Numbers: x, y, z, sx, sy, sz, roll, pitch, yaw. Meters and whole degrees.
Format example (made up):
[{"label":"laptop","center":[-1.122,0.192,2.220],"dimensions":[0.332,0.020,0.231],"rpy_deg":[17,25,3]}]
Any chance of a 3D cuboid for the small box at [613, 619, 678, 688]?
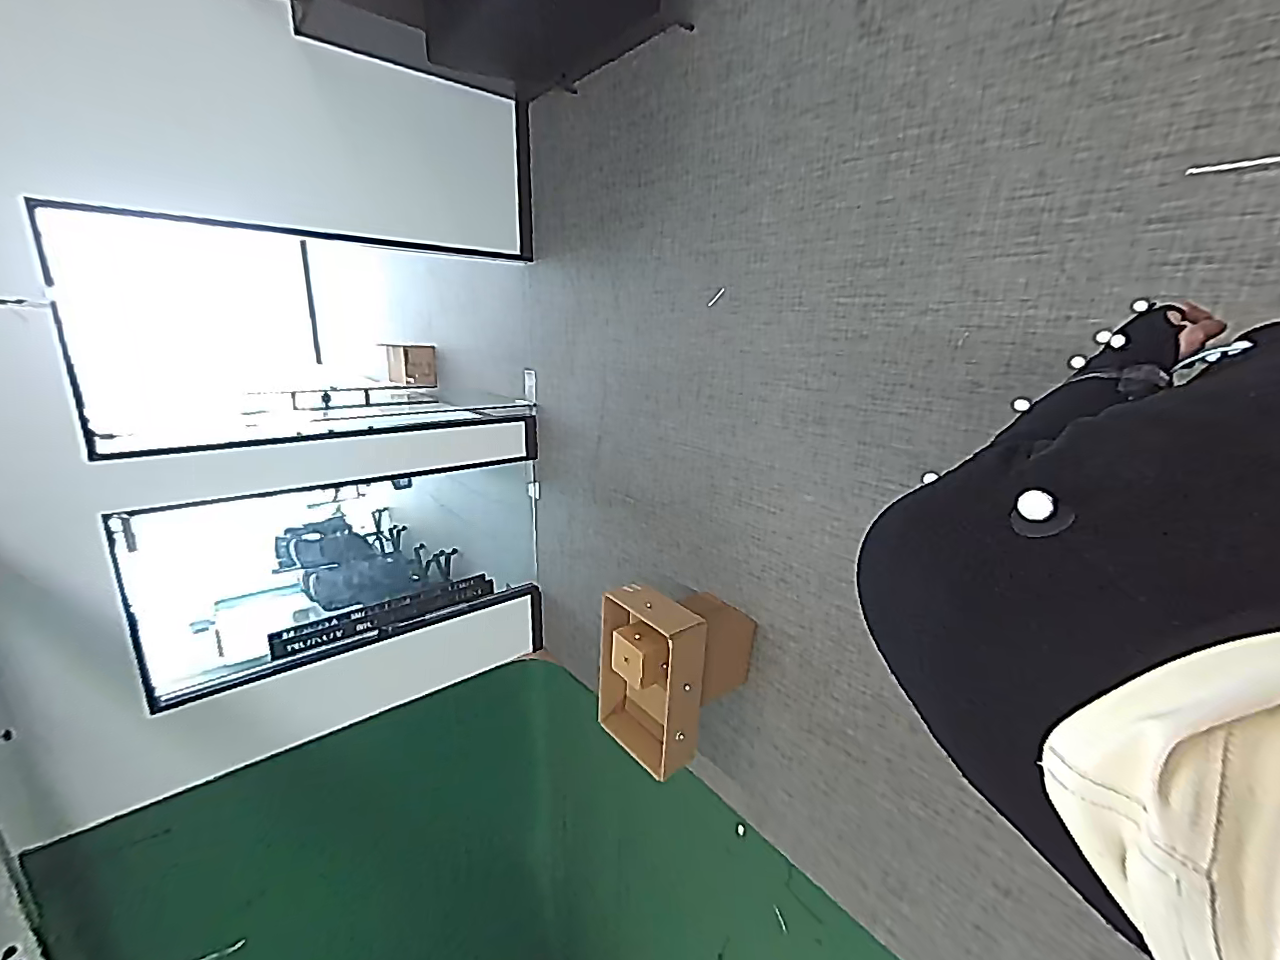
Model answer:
[{"label":"small box","center":[0.019,0.646,2.042],"dimensions":[0.179,0.176,0.168],"rpy_deg":[22,114,46]}]
